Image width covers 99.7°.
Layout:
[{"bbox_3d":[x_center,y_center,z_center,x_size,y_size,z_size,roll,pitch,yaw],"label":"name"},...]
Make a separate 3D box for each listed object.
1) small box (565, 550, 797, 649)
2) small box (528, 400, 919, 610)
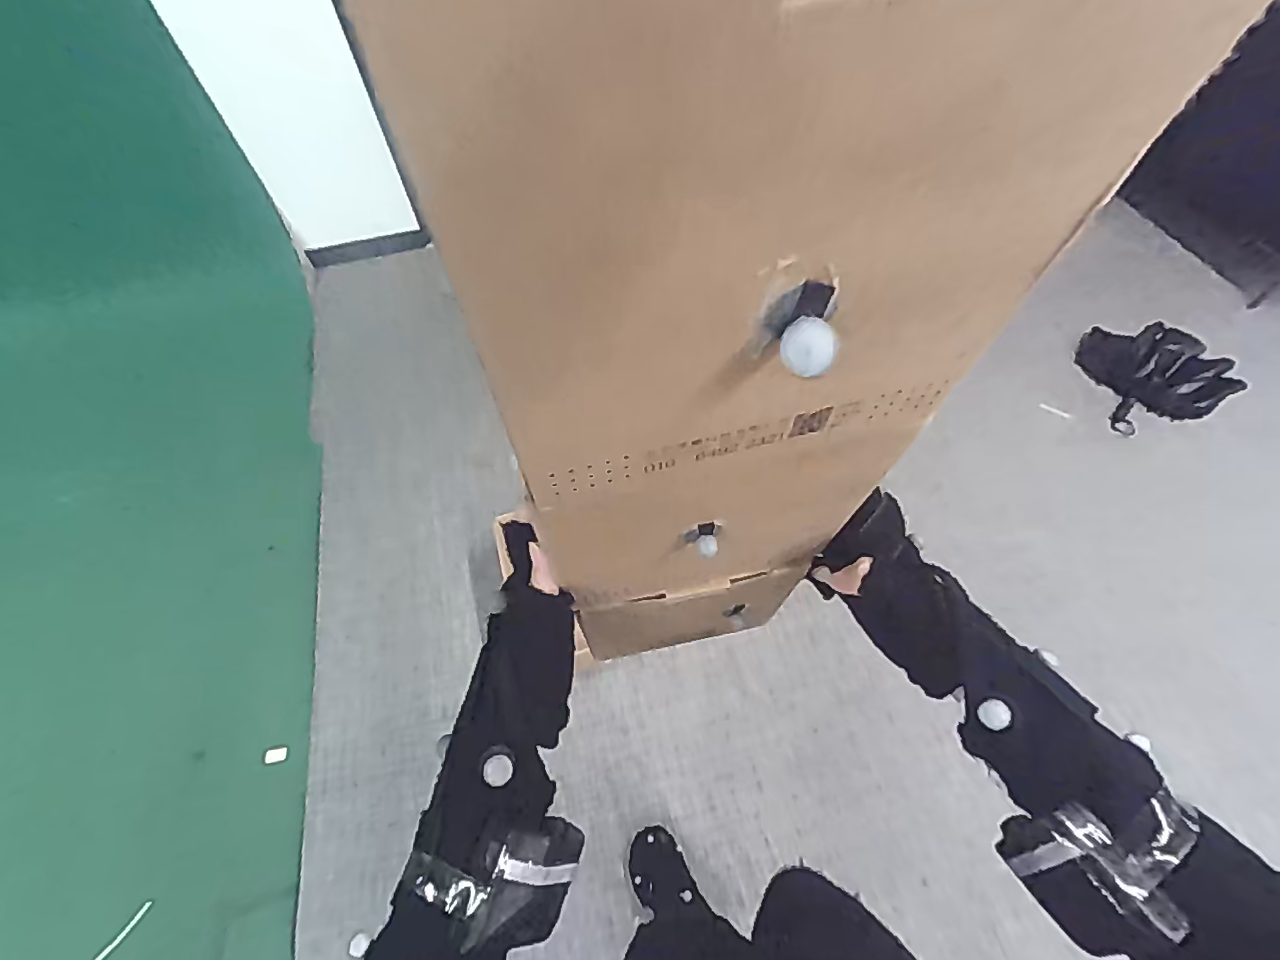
[{"bbox_3d":[0.016,0.040,0.477,0.168,0.176,0.179,-10,61,-6],"label":"small box"},{"bbox_3d":[0.019,-0.036,0.332,0.179,0.176,0.168,-14,63,-9],"label":"small box"}]
